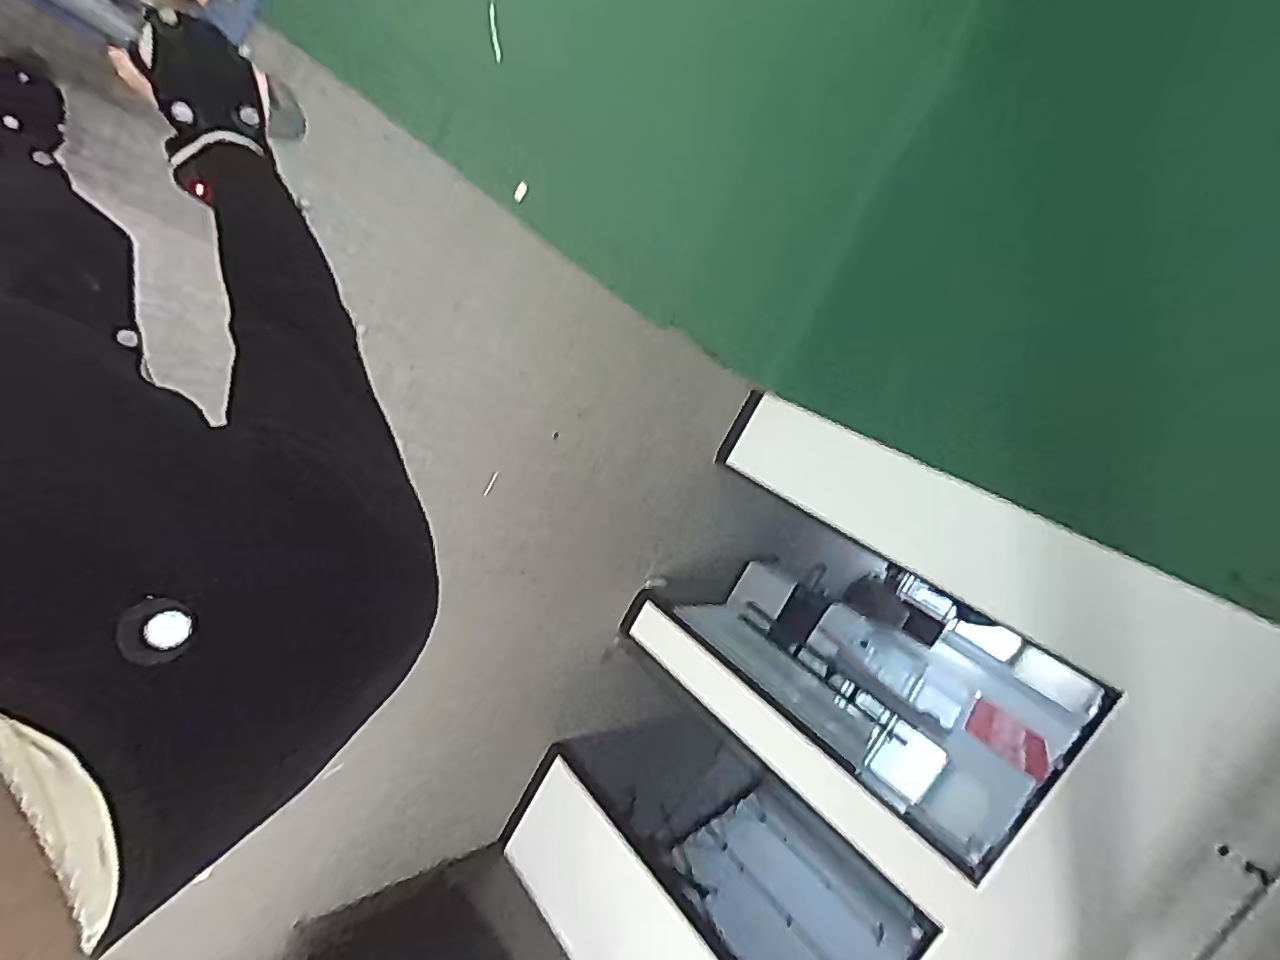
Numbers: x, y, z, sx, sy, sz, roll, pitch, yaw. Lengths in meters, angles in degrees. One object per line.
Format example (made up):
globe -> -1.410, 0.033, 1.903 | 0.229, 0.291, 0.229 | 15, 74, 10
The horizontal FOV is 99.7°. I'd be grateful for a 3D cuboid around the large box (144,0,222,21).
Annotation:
large box -> -0.685, -0.909, 0.683 | 0.320, 0.320, 0.408 | 17, 103, -54
